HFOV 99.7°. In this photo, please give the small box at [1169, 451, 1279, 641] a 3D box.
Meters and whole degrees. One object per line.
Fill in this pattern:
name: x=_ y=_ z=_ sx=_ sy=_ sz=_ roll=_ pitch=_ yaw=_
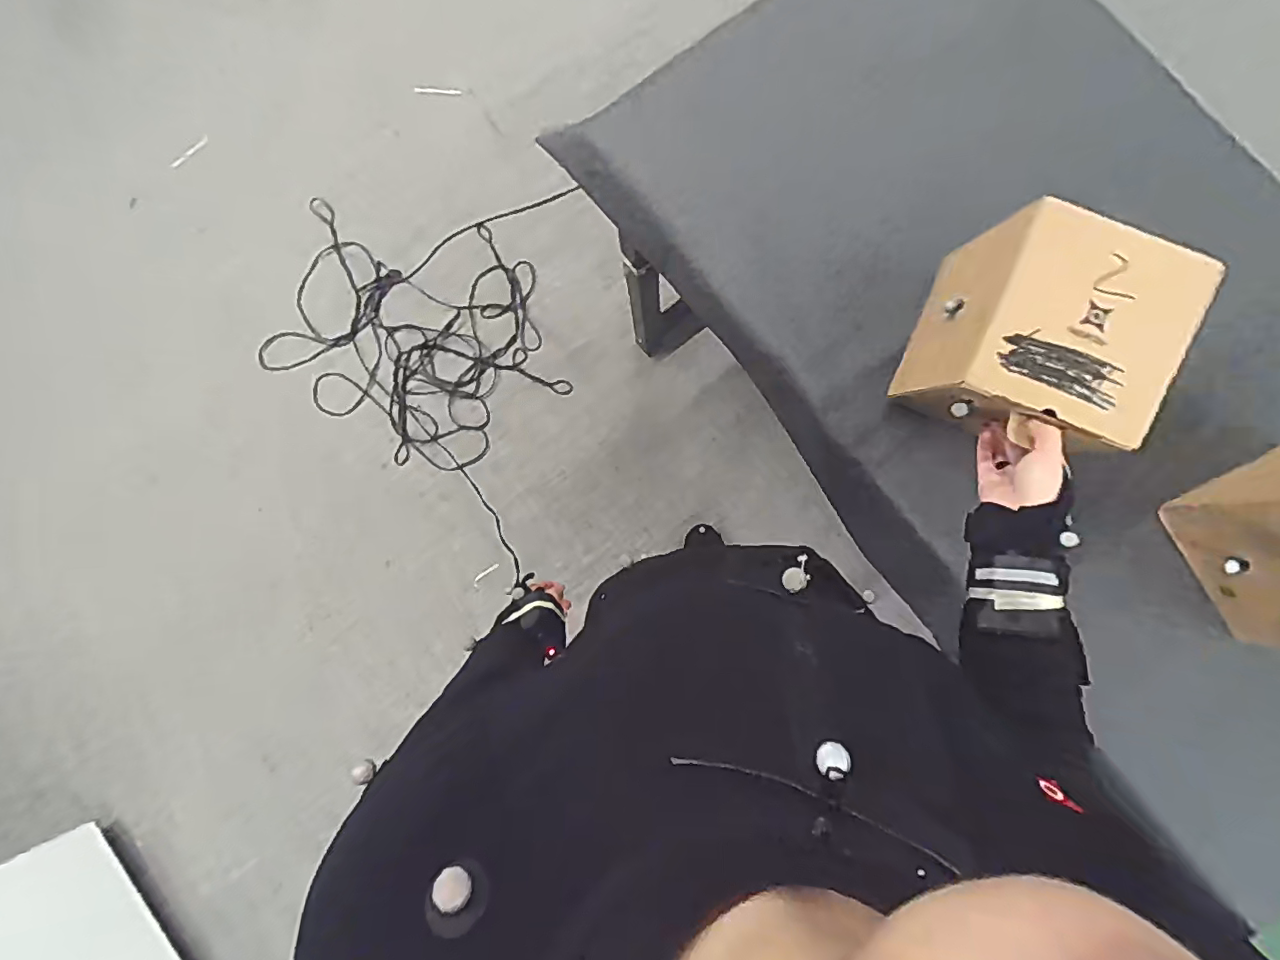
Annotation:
small box: x=0.710 y=0.057 z=0.535 sx=0.179 sy=0.176 sz=0.168 roll=-27 pitch=82 yaw=0
